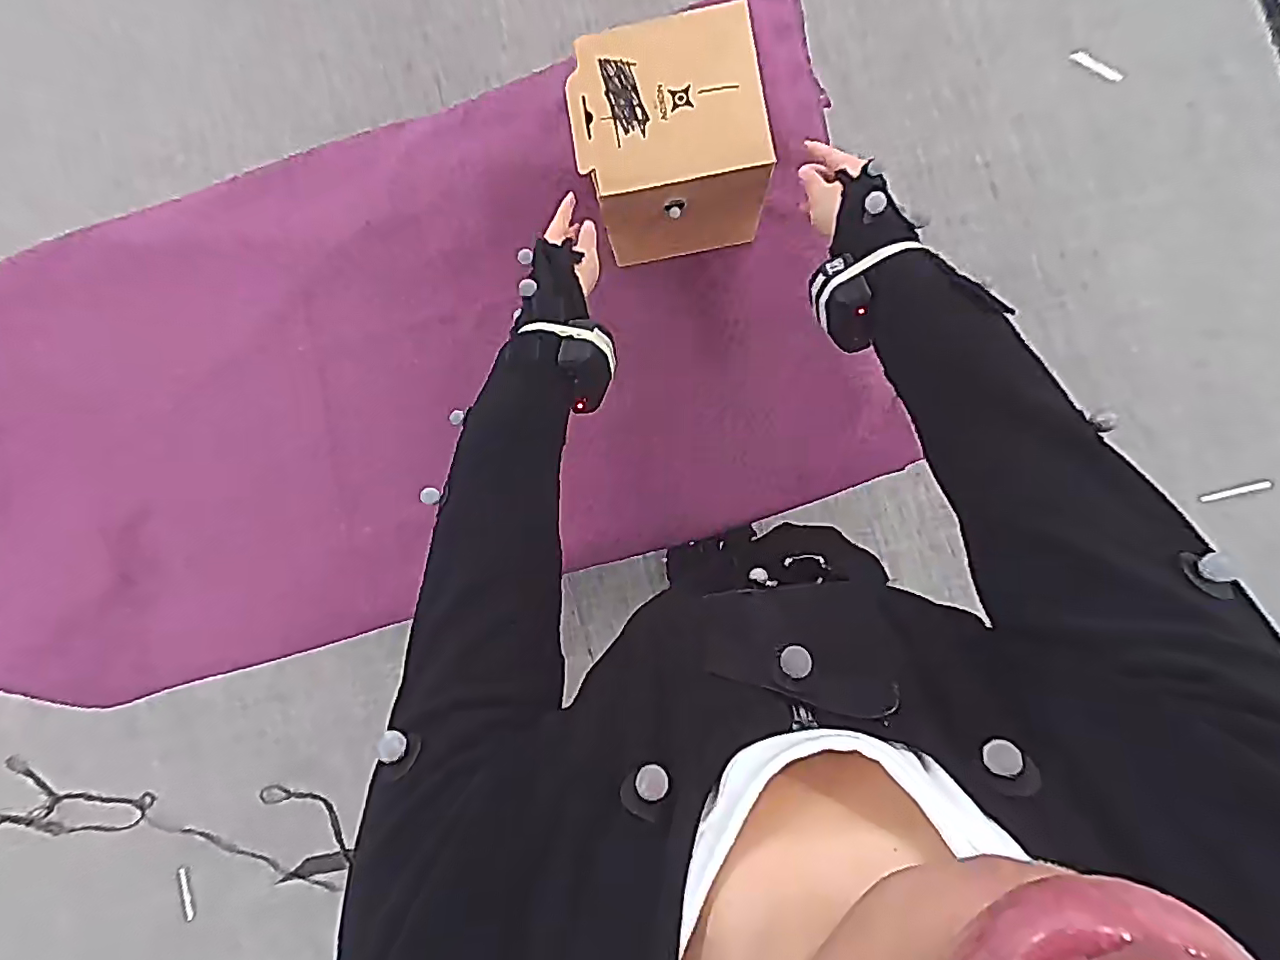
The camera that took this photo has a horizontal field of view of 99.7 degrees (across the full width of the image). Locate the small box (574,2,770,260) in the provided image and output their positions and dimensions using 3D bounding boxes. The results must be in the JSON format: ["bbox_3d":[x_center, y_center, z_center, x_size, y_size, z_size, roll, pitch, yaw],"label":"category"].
[{"bbox_3d":[0.037,-0.370,0.608,0.179,0.176,0.168,-9,89,4],"label":"small box"}]
